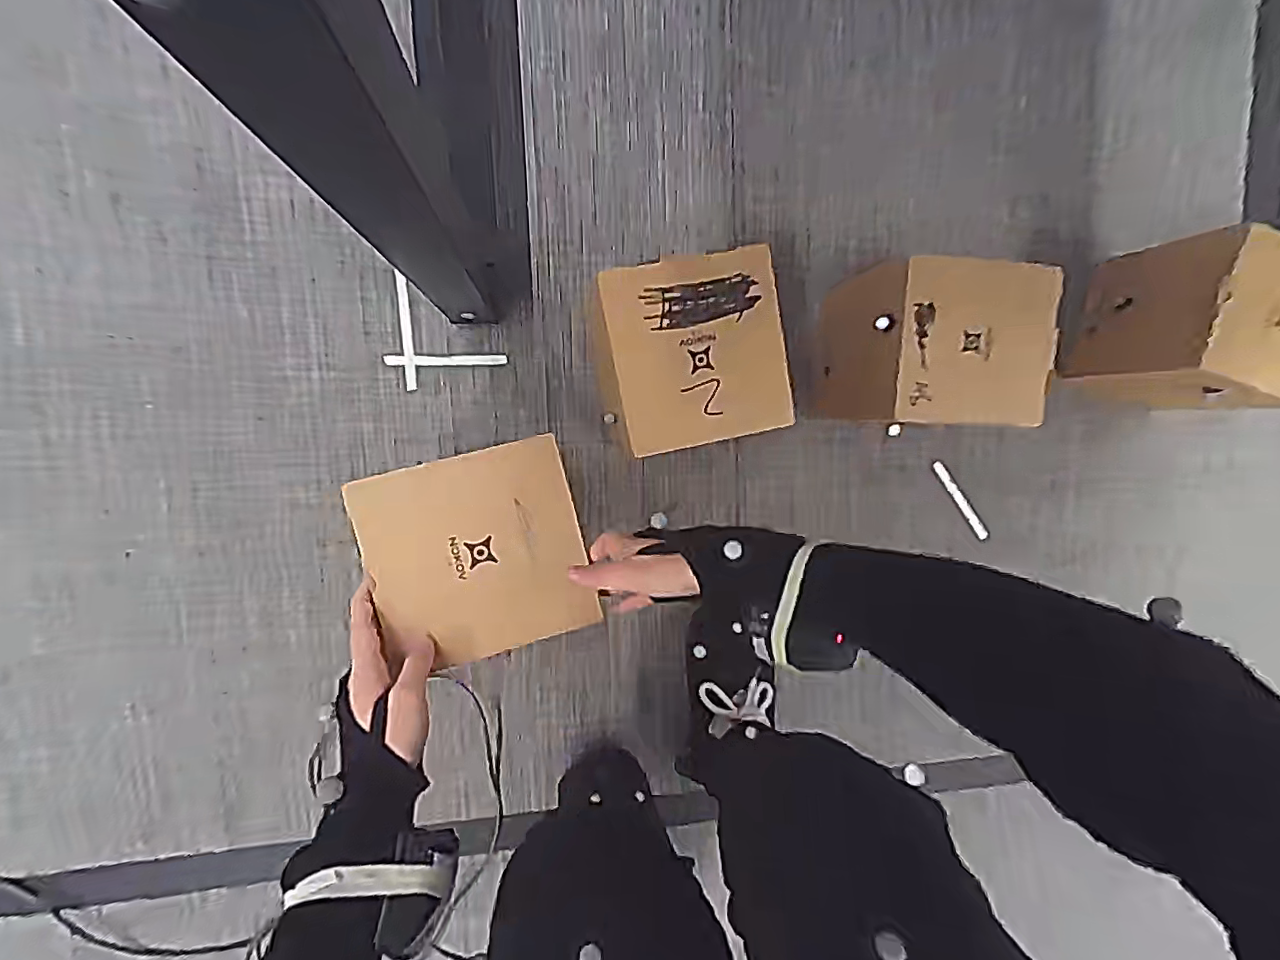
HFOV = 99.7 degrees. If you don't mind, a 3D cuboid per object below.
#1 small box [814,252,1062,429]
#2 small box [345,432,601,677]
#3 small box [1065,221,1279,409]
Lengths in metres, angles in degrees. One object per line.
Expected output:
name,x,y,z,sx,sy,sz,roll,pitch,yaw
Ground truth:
small box,0.327,-0.148,0.624,0.179,0.176,0.168,2,97,-10
small box,-0.146,0.063,0.524,0.179,0.176,0.168,-16,90,-10
small box,0.701,-0.192,0.680,0.179,0.176,0.168,14,95,-10
